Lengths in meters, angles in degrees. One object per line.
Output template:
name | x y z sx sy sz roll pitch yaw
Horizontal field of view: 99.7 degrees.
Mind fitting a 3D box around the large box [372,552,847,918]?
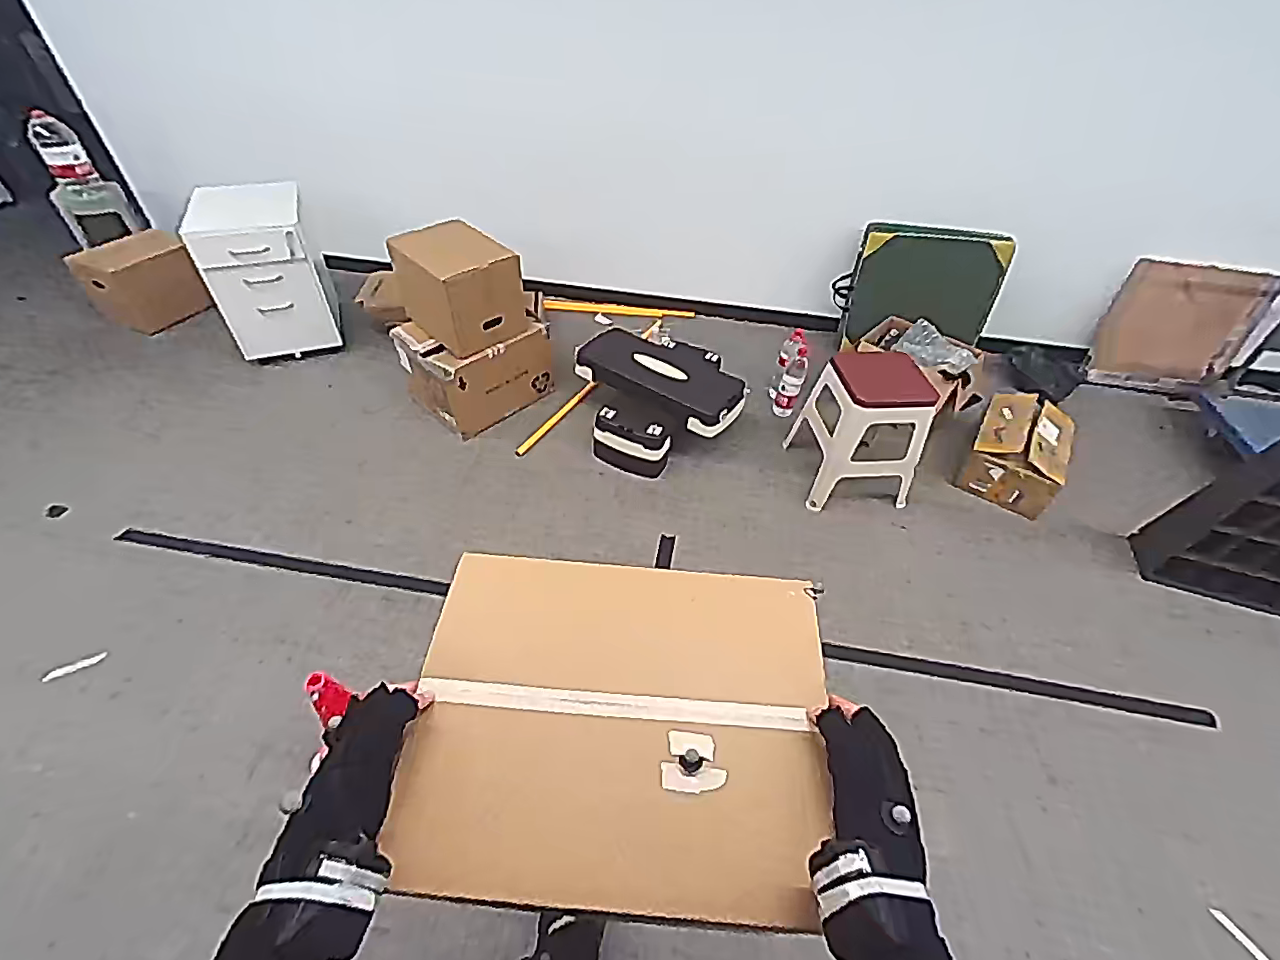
large box | -0.024 0.311 0.651 0.408 0.320 0.320 5 50 1

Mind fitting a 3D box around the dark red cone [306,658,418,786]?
dark red cone | -0.667 0.513 1.222 0.201 0.394 0.202 14 46 8
